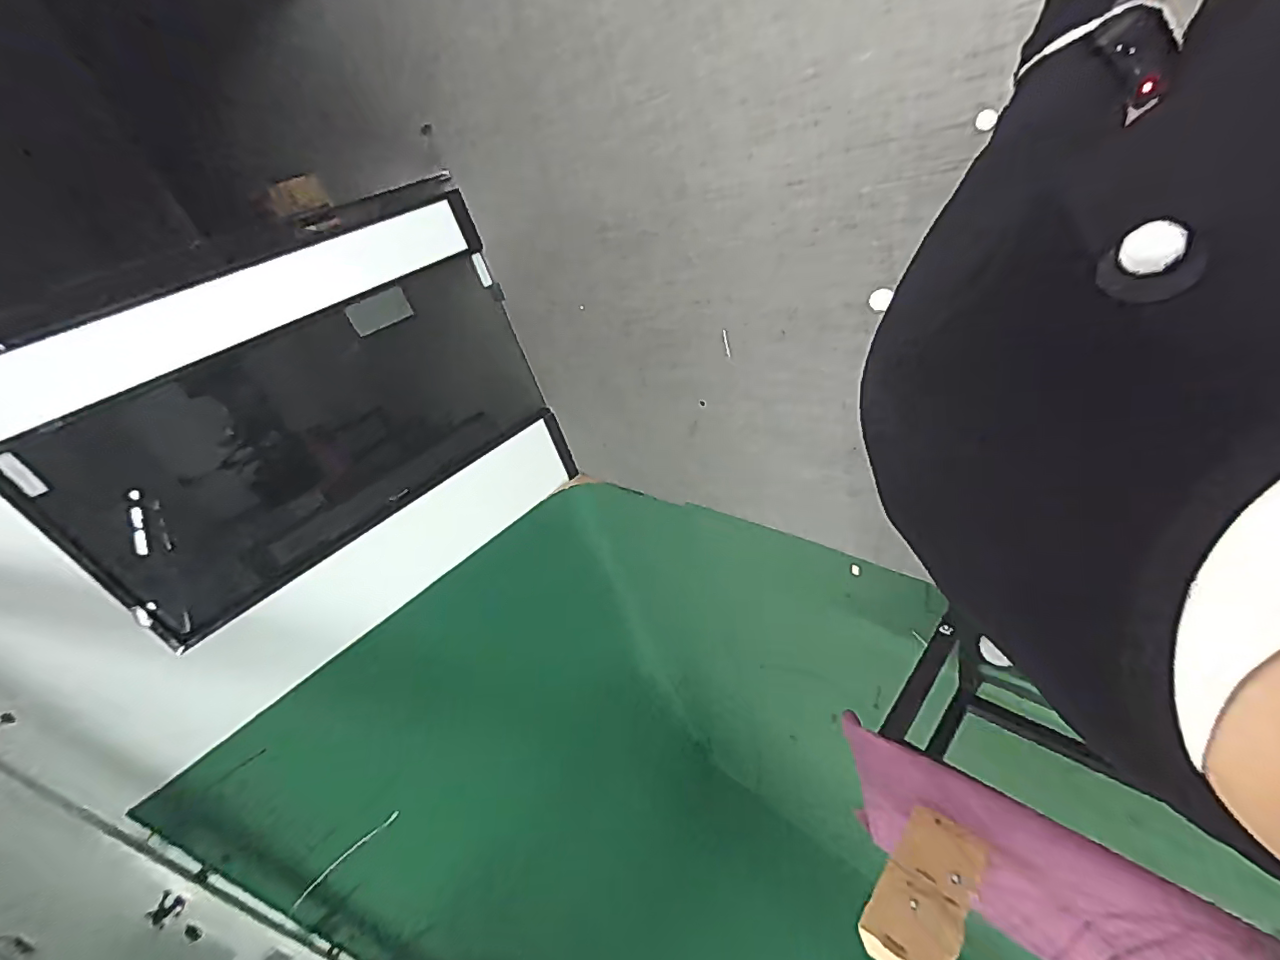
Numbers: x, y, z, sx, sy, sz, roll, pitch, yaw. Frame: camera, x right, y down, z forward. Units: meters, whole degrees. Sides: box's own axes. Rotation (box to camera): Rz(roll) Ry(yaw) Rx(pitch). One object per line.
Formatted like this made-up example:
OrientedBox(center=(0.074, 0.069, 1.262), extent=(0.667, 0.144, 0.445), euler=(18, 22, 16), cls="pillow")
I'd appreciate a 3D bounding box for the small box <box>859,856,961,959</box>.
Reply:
OrientedBox(center=(0.654, 1.064, 1.300), extent=(0.168, 0.176, 0.179), euler=(14, 135, 46), cls="small box")
